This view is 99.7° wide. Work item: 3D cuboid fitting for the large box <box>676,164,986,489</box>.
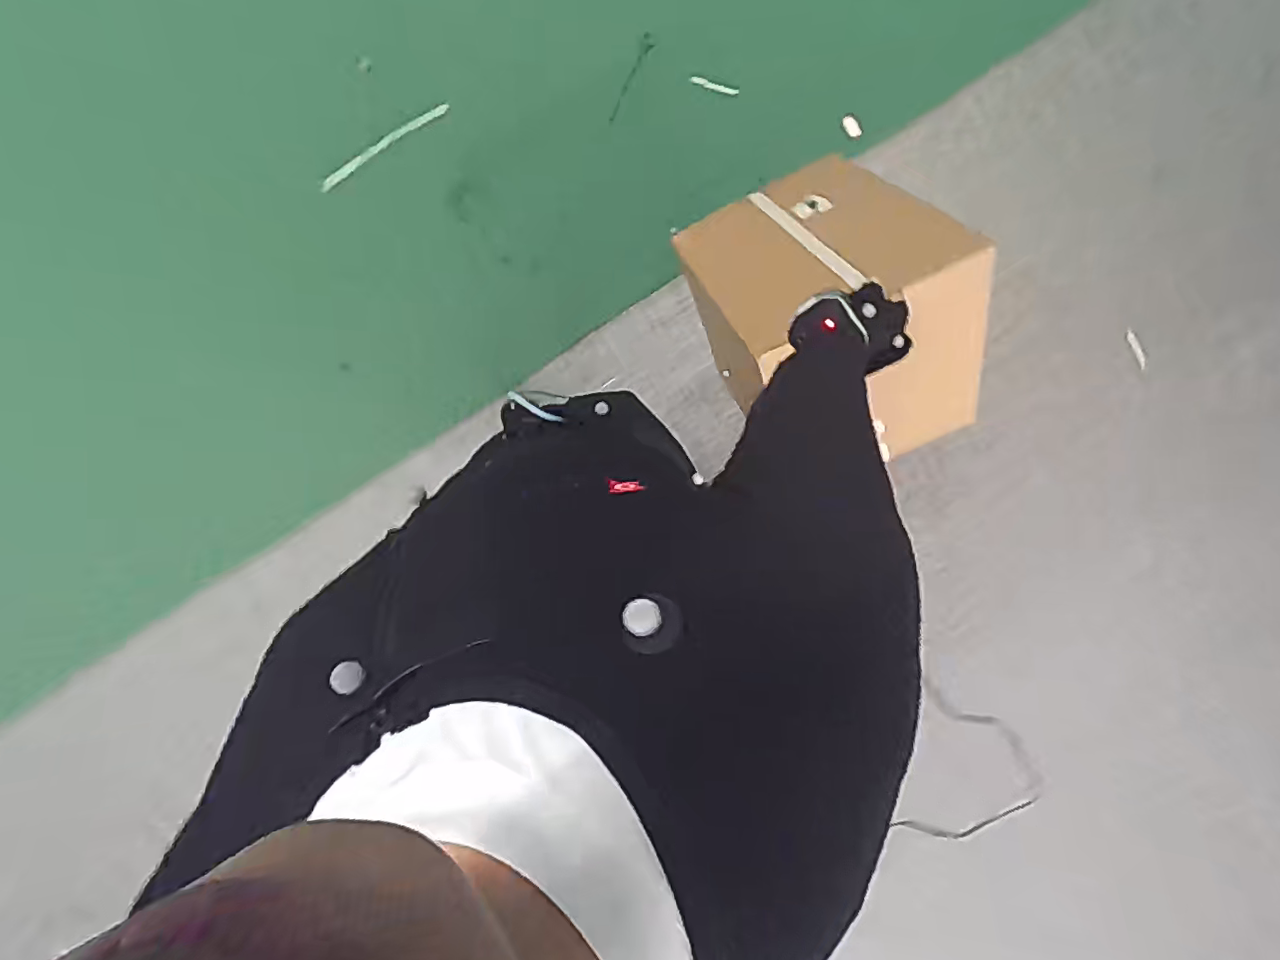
[{"bbox_3d":[0.302,-0.263,0.919,0.320,0.408,0.320,-24,135,6],"label":"large box"}]
